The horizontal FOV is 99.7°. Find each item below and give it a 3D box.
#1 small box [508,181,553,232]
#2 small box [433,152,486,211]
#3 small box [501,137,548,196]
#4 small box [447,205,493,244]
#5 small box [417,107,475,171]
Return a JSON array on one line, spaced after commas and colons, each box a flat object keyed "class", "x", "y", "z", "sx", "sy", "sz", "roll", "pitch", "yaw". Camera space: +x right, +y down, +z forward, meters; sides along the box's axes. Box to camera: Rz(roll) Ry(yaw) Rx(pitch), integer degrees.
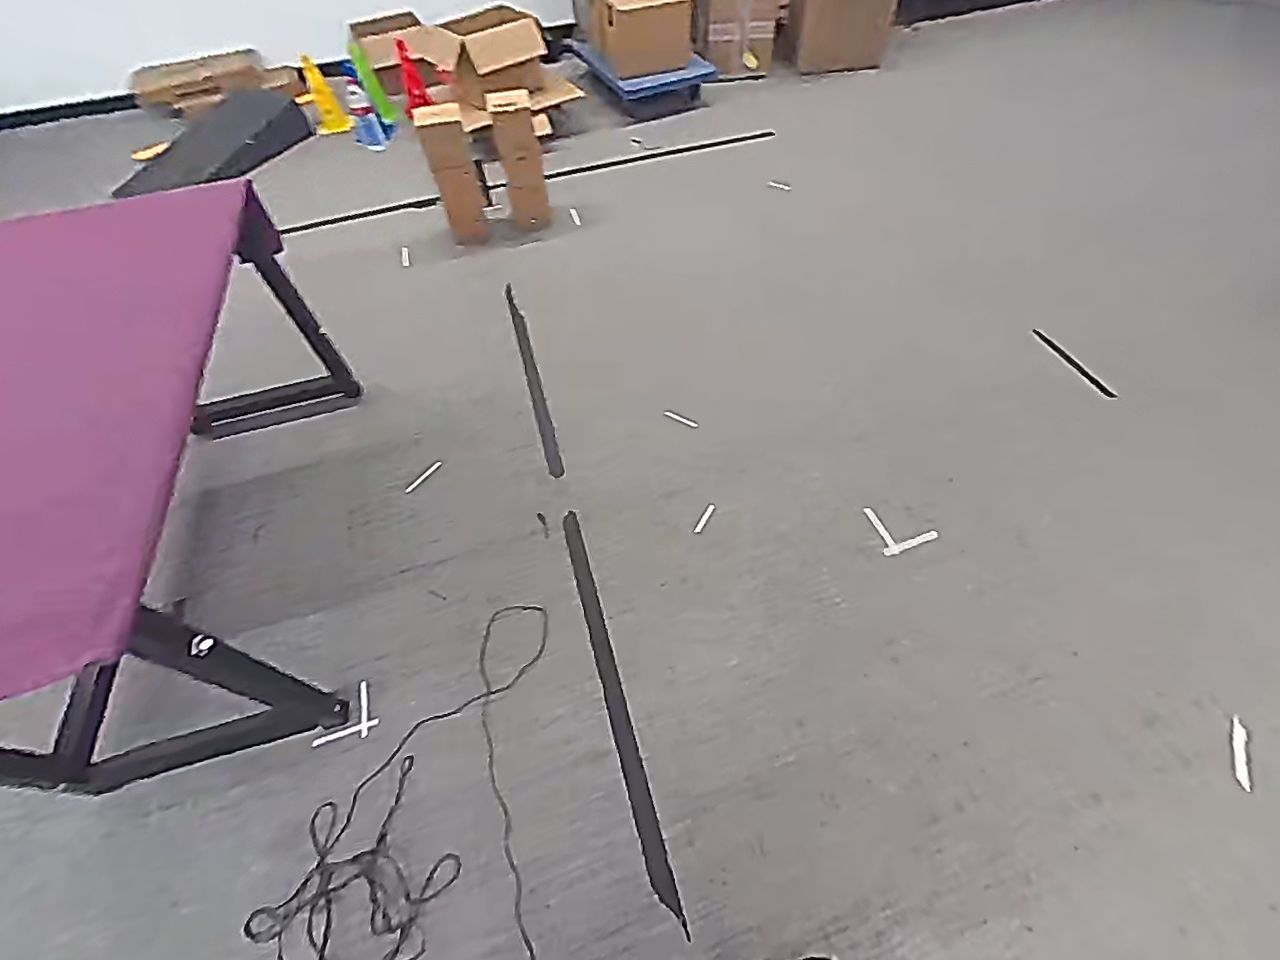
[{"class": "small box", "x": -0.503, "y": -1.277, "z": 2.506, "sx": 0.179, "sy": 0.176, "sz": 0.168, "roll": -11, "pitch": 56, "yaw": -6}, {"class": "small box", "x": -0.777, "y": -1.279, "z": 2.321, "sx": 0.179, "sy": 0.176, "sz": 0.168, "roll": -14, "pitch": 56, "yaw": -9}, {"class": "small box", "x": -0.503, "y": -1.367, "z": 2.368, "sx": 0.168, "sy": 0.176, "sz": 0.179, "roll": -12, "pitch": 55, "yaw": -6}, {"class": "small box", "x": -0.778, "y": -1.193, "z": 2.459, "sx": 0.168, "sy": 0.176, "sz": 0.179, "roll": -15, "pitch": 55, "yaw": -10}, {"class": "small box", "x": -0.783, "y": -1.374, "z": 2.187, "sx": 0.179, "sy": 0.176, "sz": 0.168, "roll": -14, "pitch": 57, "yaw": -10}]
